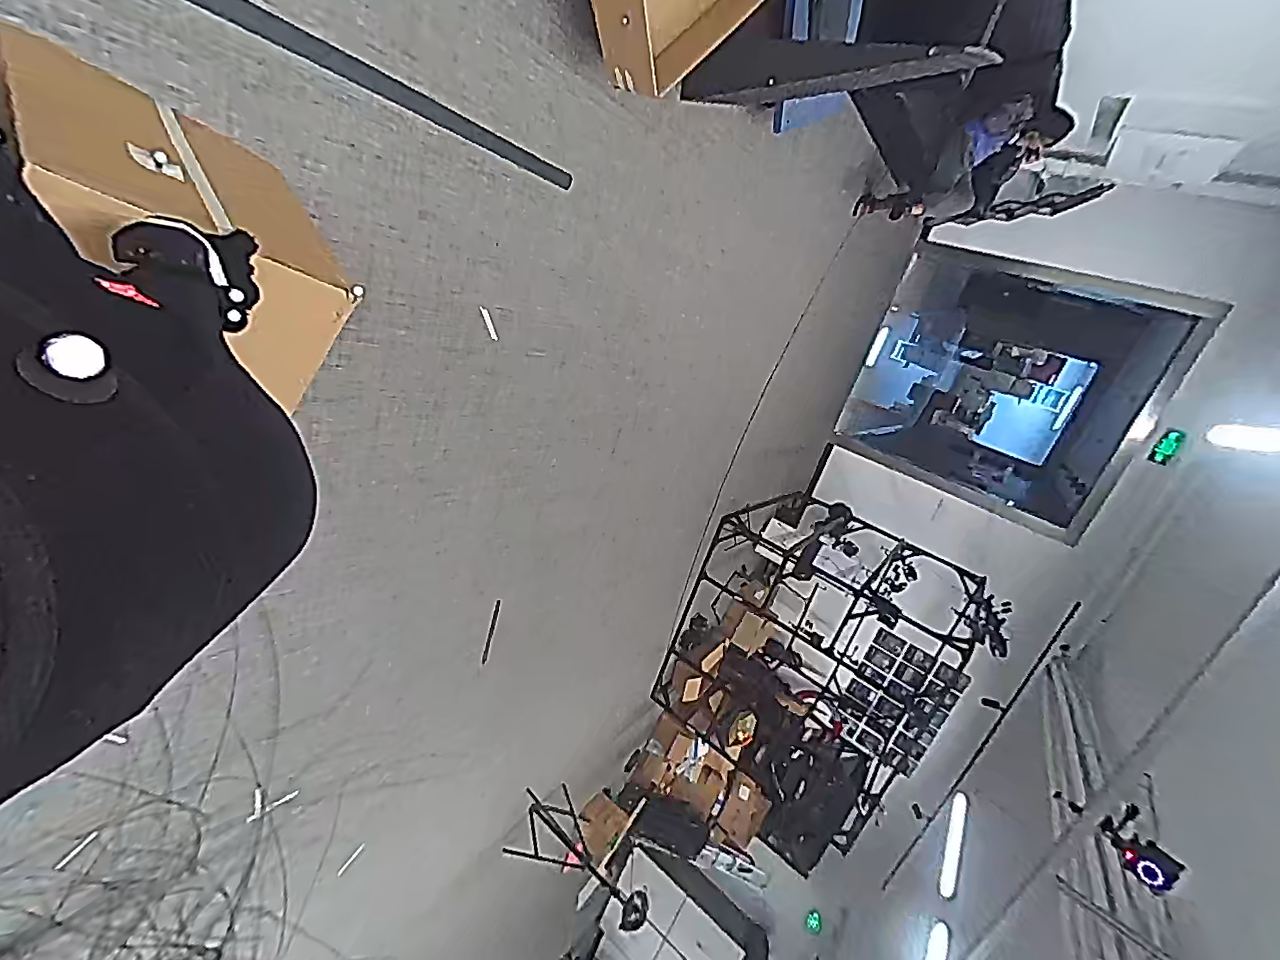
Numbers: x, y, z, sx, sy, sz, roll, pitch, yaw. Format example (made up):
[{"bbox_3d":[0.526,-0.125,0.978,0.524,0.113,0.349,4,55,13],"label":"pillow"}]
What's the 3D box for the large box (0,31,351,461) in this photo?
[{"bbox_3d":[-0.682,-0.283,0.737,0.320,0.408,0.320,-49,154,19],"label":"large box"}]
